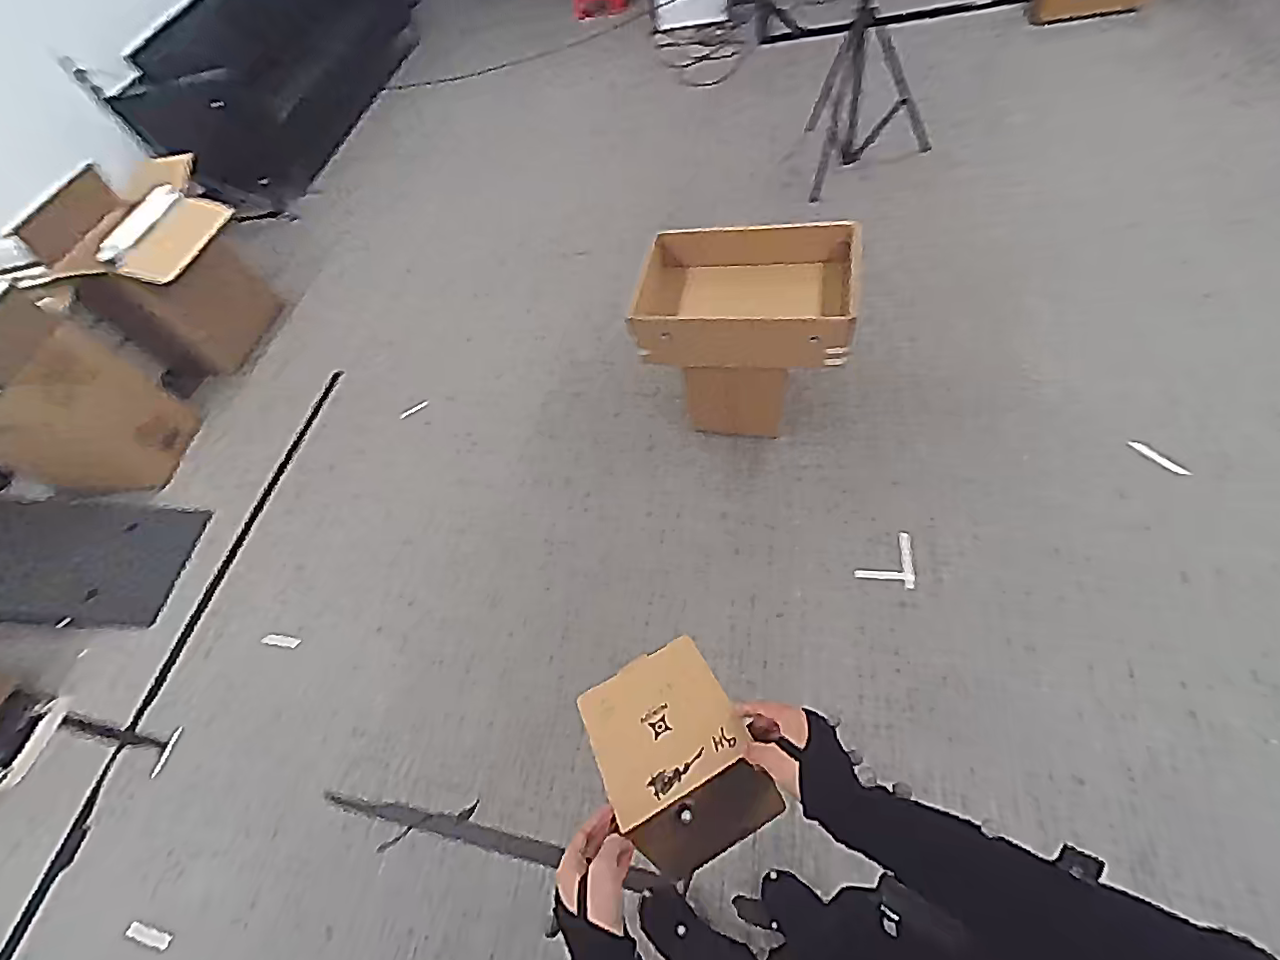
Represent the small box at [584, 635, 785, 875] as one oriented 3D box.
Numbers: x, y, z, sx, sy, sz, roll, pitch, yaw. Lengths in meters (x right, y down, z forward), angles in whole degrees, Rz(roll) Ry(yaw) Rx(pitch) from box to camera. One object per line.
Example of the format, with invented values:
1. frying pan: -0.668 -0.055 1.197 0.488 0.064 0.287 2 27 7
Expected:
1. small box: 0.054 0.335 0.667 0.168 0.176 0.179 -29 36 -5
